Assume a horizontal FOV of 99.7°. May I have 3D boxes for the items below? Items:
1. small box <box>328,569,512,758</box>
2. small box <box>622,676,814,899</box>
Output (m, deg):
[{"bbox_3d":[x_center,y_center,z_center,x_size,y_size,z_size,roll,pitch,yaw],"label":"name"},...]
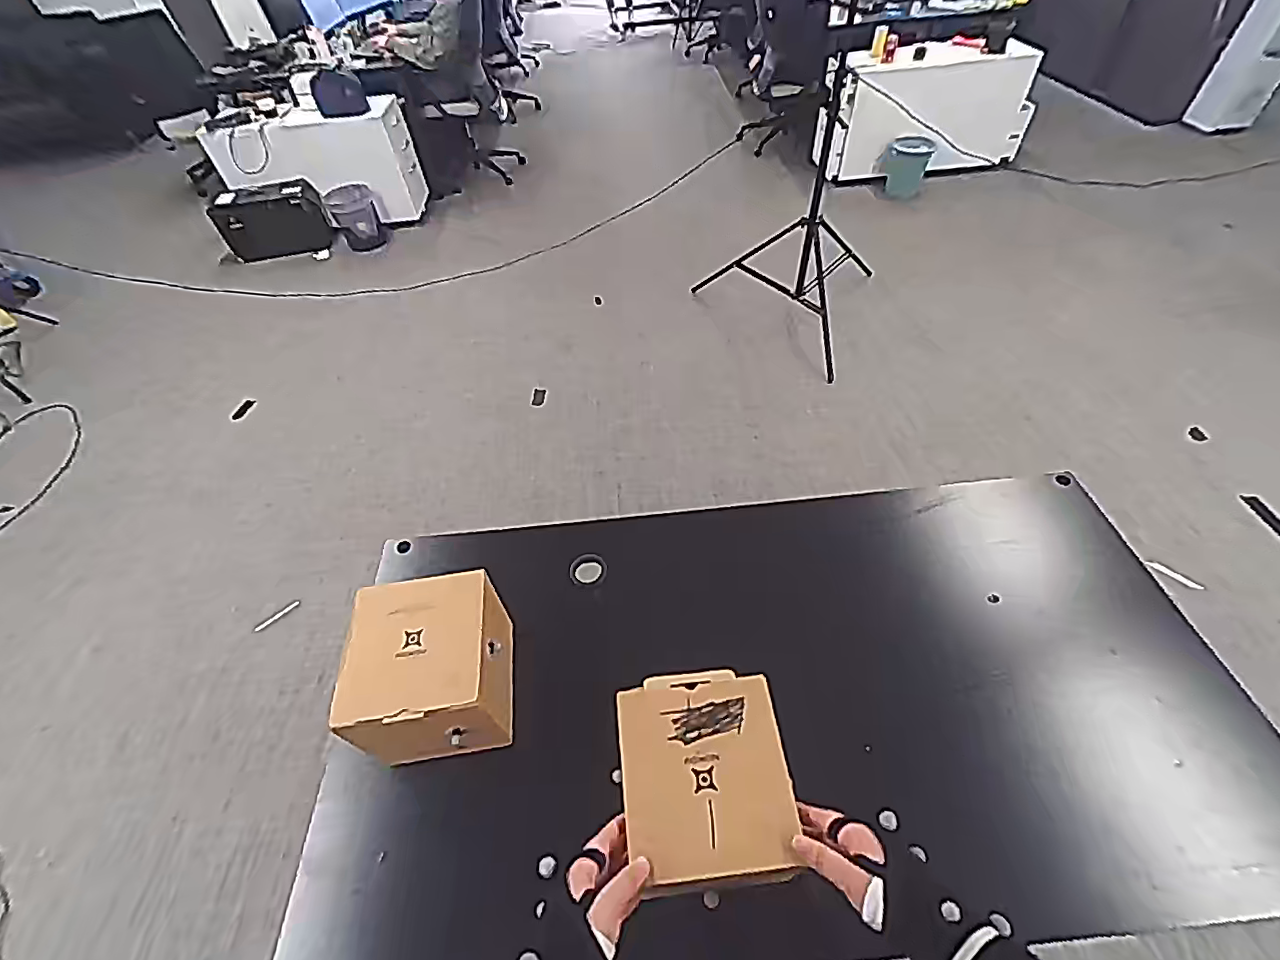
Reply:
[{"bbox_3d":[-0.264,0.242,0.698,0.168,0.176,0.179,-8,49,-4],"label":"small box"},{"bbox_3d":[0.071,0.338,0.592,0.168,0.176,0.179,-6,50,-1],"label":"small box"}]
